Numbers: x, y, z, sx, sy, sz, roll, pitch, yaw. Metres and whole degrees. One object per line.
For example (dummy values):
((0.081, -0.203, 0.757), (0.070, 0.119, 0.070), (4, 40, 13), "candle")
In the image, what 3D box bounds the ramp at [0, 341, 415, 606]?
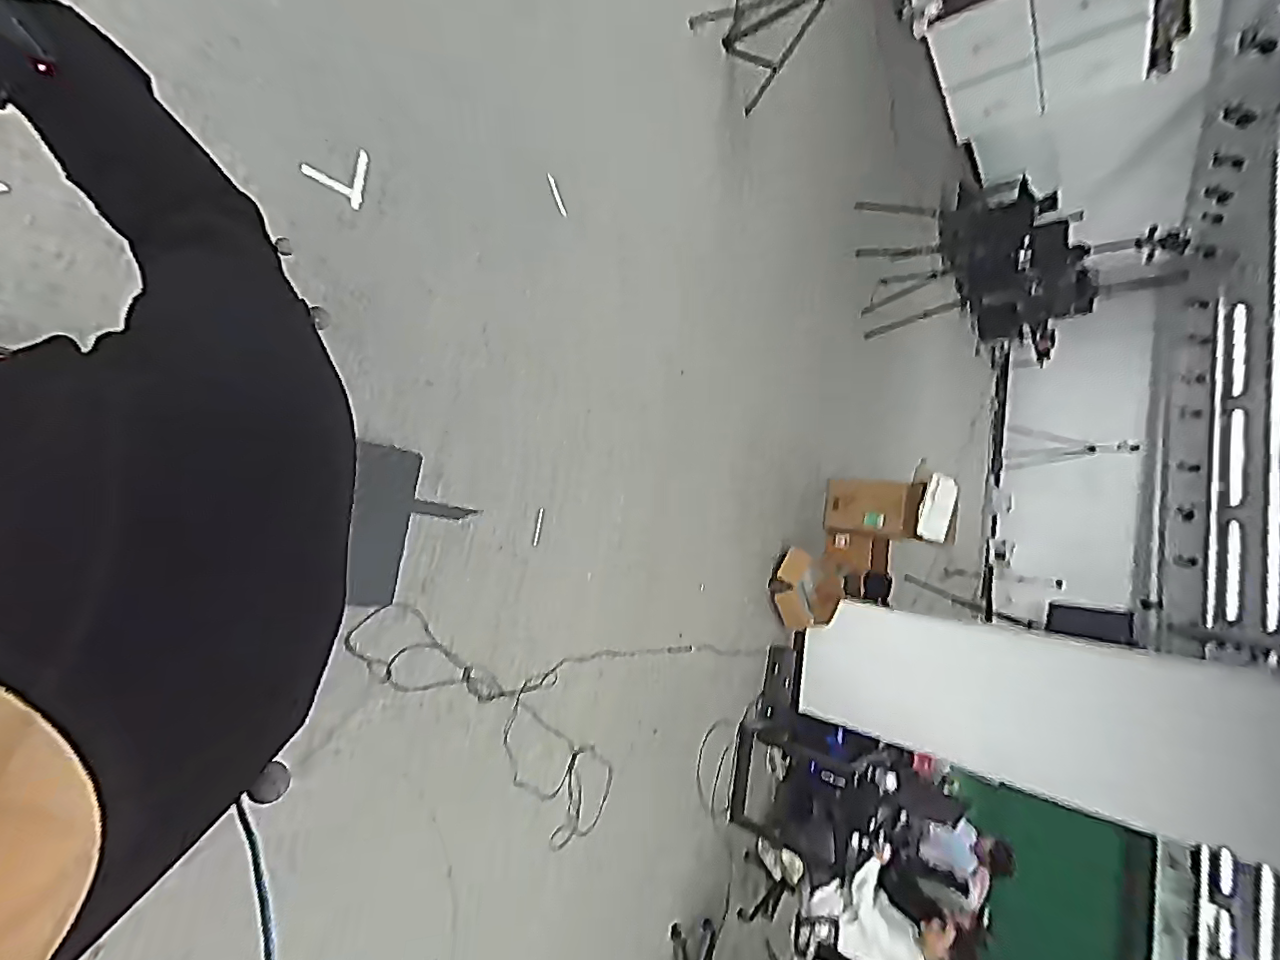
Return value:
((-1.011, 0.050, 1.310), (0.991, 0.206, 0.509), (13, 81, -49), "ramp")
